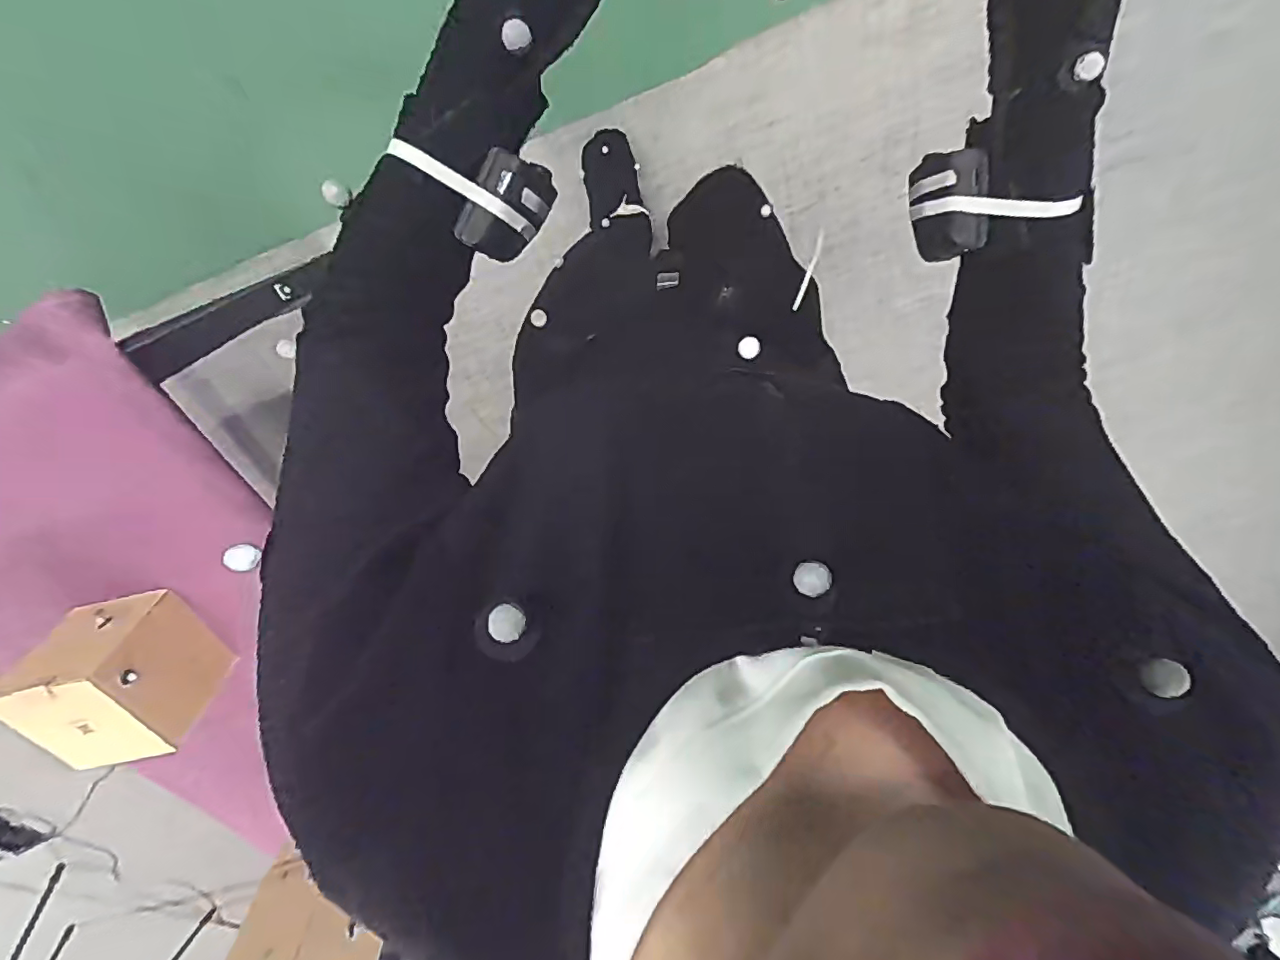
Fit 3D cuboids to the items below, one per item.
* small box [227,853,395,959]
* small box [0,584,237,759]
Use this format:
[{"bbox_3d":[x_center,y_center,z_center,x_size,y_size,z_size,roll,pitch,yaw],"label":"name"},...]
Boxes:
[{"bbox_3d":[-0.575,0.788,0.957,0.168,0.176,0.179,-19,122,12],"label":"small box"},{"bbox_3d":[-0.772,0.287,0.819,0.168,0.176,0.179,-12,123,5],"label":"small box"}]
